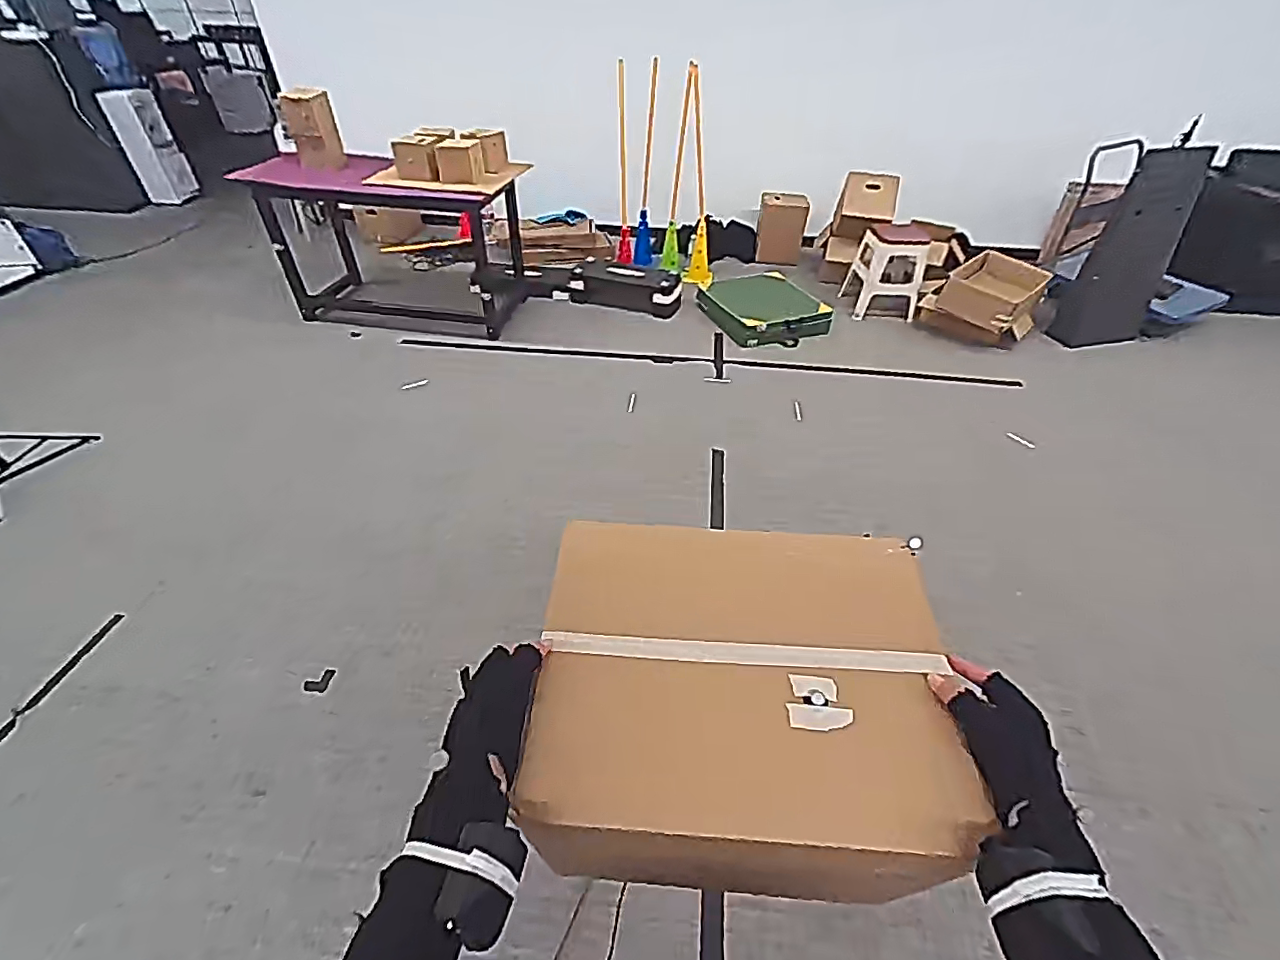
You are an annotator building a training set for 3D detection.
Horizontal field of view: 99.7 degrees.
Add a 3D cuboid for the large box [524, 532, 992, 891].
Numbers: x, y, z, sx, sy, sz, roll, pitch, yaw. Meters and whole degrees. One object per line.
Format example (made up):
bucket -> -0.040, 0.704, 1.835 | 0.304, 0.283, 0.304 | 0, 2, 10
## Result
large box -> 0.104, 0.284, 0.663 | 0.408, 0.320, 0.320 | 3, 48, 3
